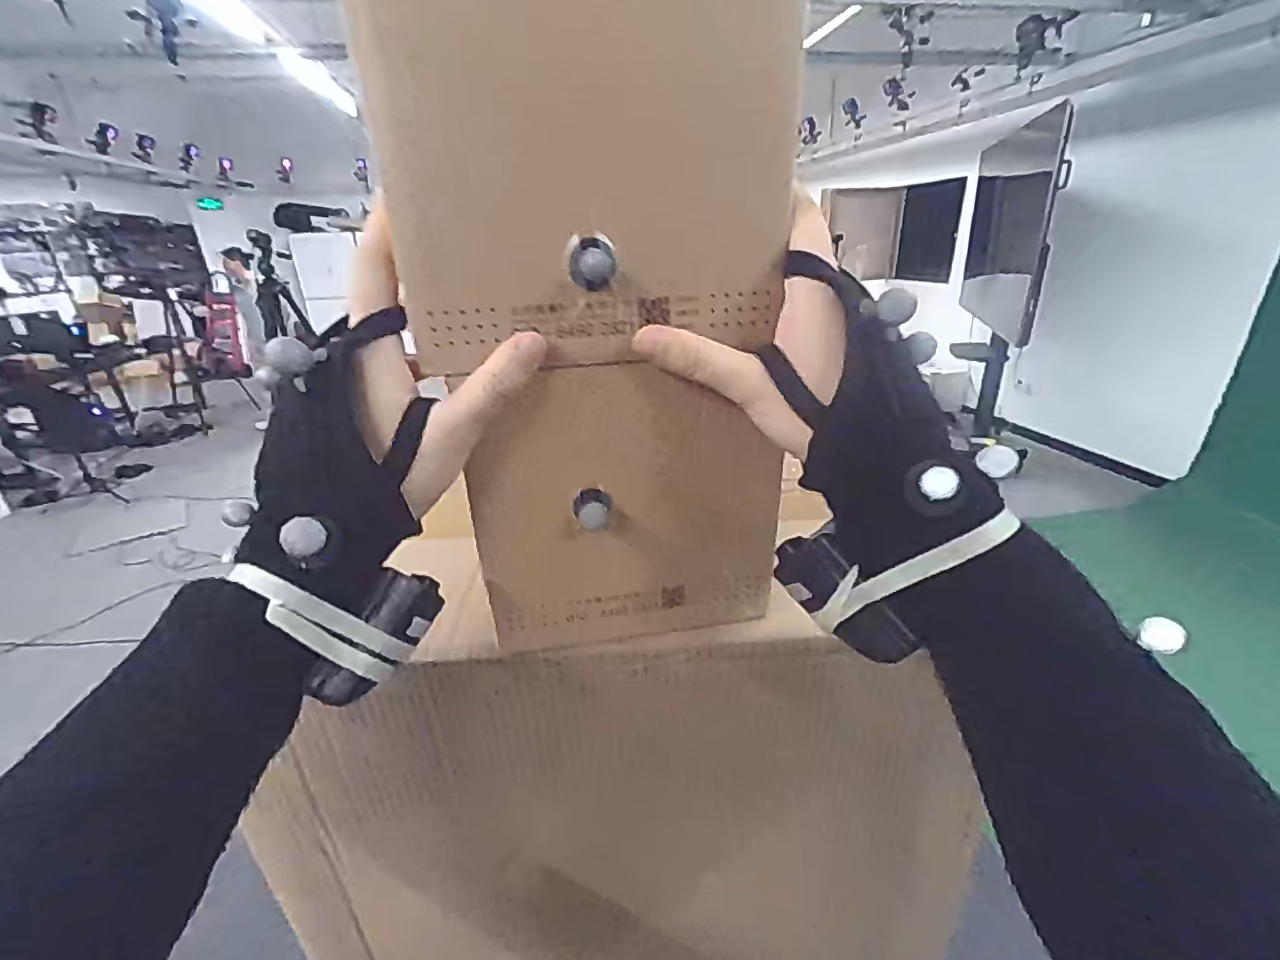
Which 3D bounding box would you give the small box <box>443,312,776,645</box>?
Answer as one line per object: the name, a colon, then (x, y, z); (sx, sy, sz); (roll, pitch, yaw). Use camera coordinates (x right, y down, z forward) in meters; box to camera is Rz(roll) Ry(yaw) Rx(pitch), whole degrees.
small box: (-0.019, -0.008, 0.364); (0.168, 0.176, 0.179); (-6, 26, -7)
